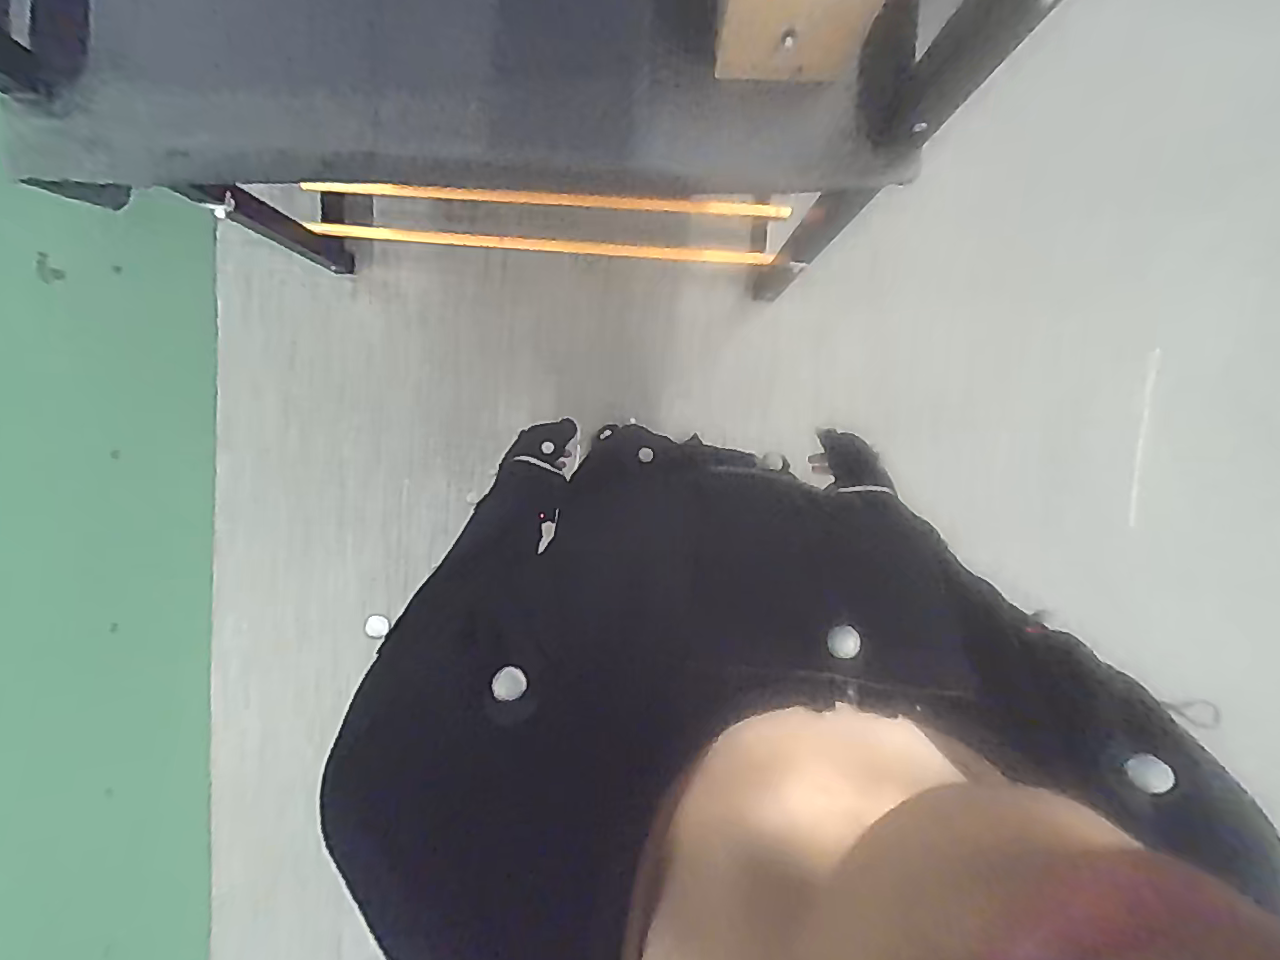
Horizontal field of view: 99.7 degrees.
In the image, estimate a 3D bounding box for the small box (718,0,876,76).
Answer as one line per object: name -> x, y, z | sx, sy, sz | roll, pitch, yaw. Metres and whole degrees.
small box -> 0.182, -0.600, 0.613 | 0.168, 0.176, 0.179 | 2, 94, 0
